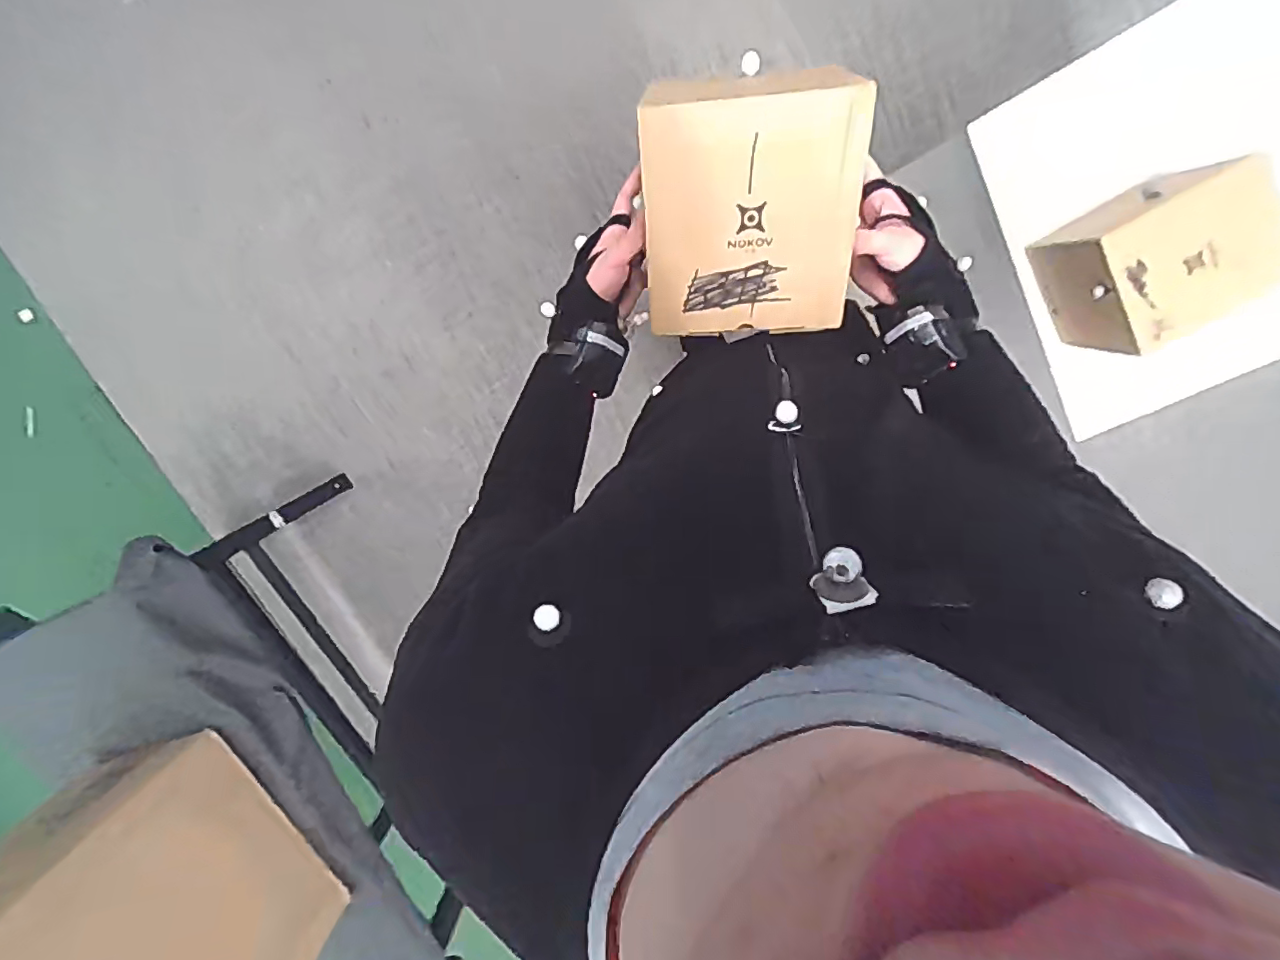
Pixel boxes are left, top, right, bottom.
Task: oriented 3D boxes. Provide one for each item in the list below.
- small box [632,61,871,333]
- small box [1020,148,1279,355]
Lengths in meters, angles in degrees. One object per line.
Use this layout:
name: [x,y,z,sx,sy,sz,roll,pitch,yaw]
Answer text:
small box: [0.087,-0.252,0.484,0.168,0.176,0.179,-3,130,6]
small box: [0.654,-0.287,0.708,0.179,0.176,0.168,-30,103,14]
